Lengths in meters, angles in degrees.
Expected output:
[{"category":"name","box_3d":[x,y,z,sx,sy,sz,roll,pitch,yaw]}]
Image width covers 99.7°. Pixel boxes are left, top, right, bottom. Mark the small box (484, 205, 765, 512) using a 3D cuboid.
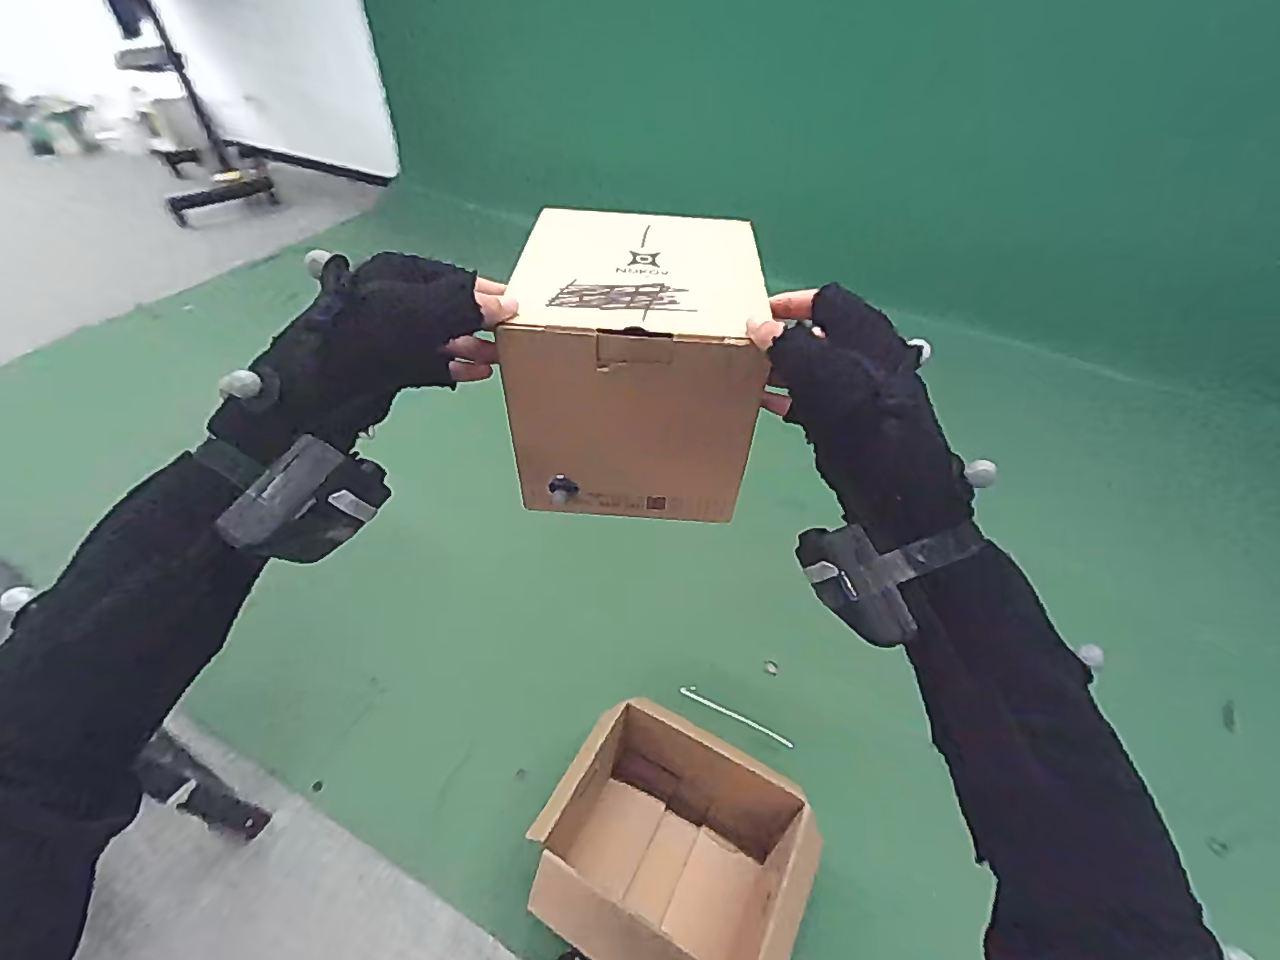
[{"category":"small box","box_3d":[-0.008,-0.092,0.420,0.168,0.176,0.179,3,46,-1]}]
